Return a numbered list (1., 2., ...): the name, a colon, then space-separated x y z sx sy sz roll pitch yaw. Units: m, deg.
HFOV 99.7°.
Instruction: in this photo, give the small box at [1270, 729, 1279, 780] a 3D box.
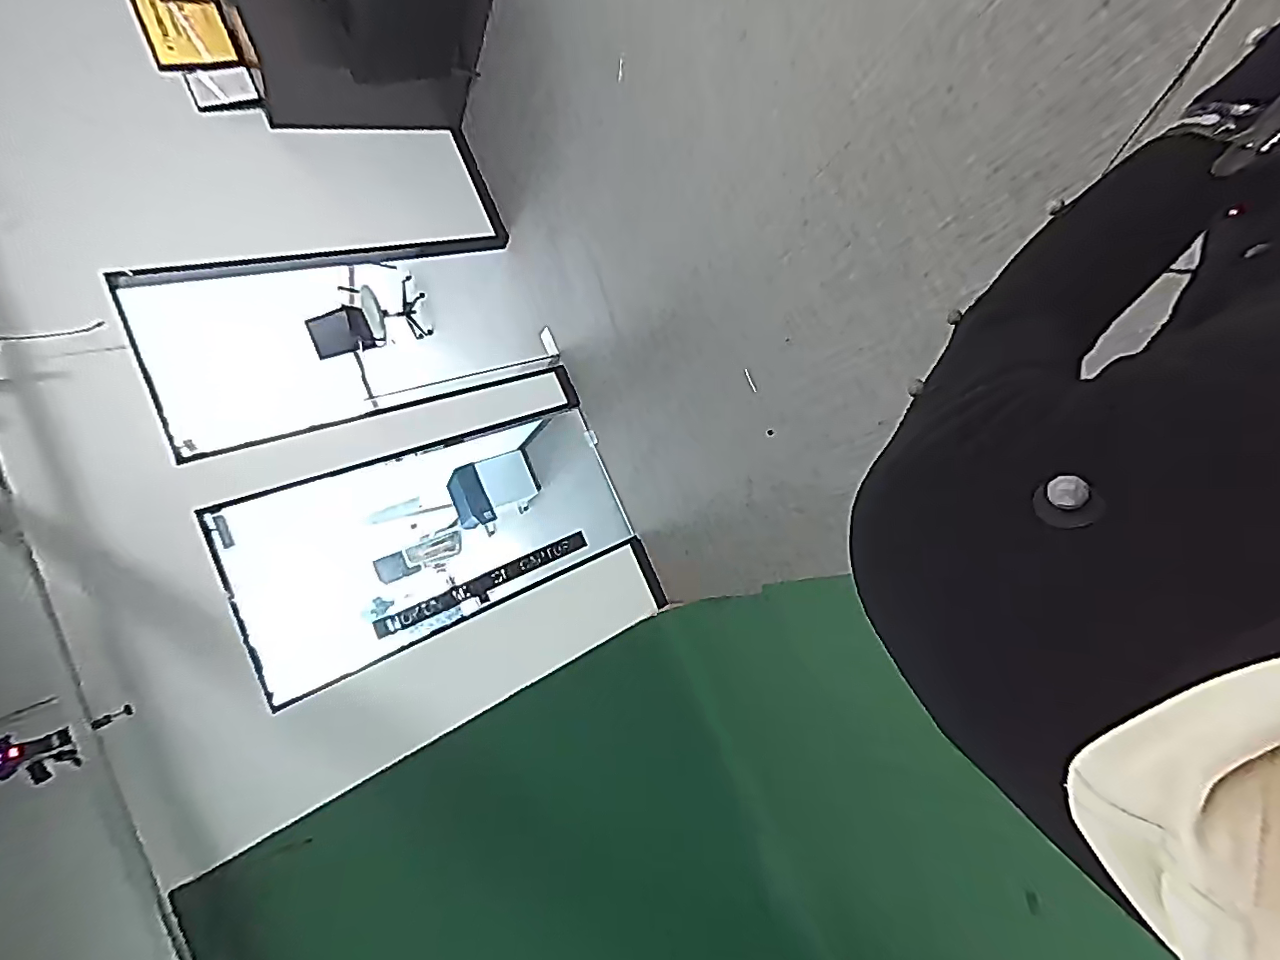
1. small box: 1.470 0.622 1.117 0.168 0.176 0.179 -25 87 58
